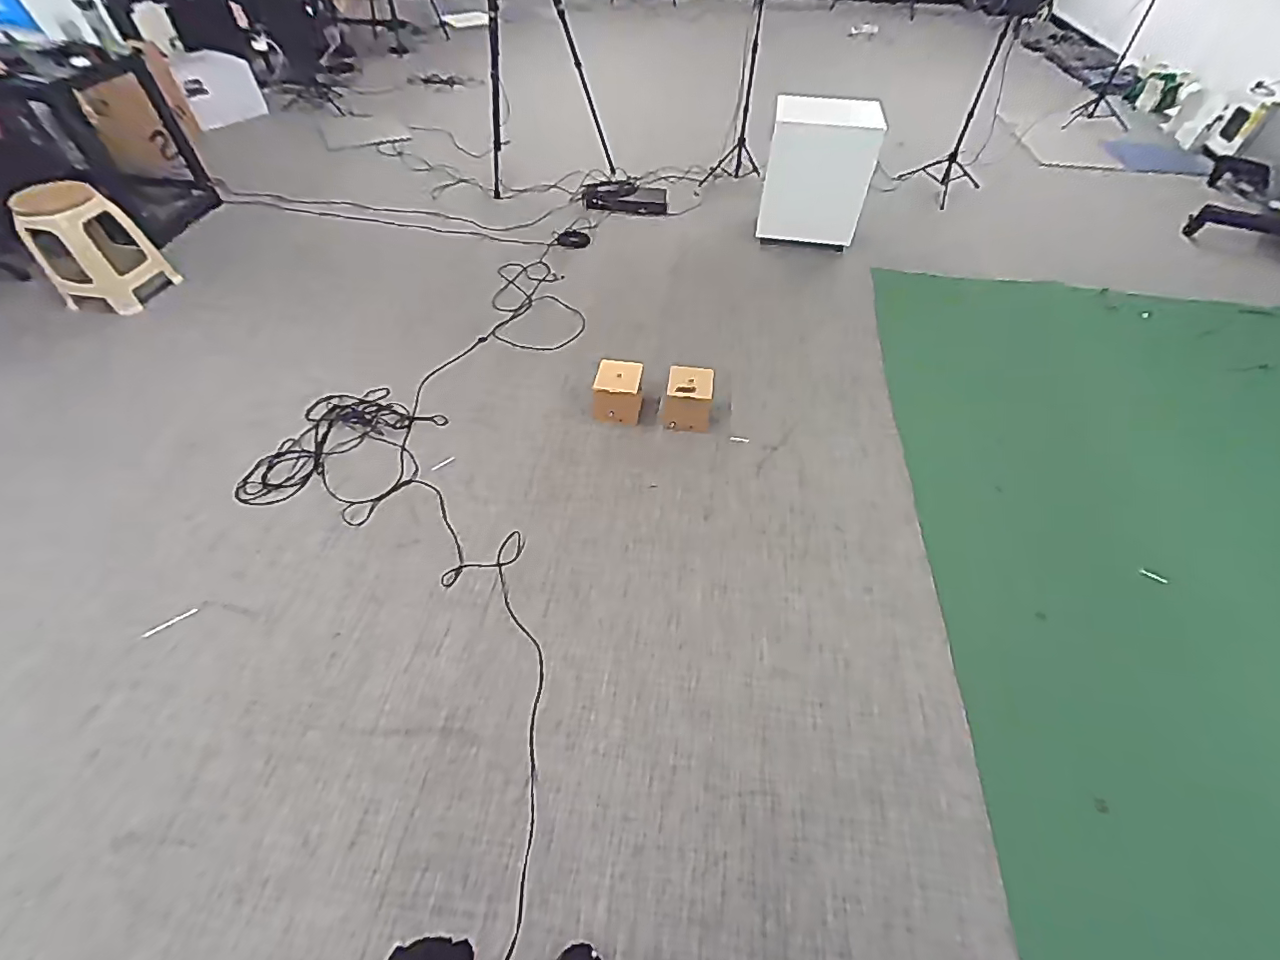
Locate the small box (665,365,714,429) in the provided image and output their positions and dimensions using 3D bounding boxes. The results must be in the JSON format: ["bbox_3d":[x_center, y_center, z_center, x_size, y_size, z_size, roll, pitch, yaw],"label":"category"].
[{"bbox_3d":[0.188,-0.314,2.073,0.168,0.176,0.179,7,50,5],"label":"small box"}]

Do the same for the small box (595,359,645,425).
[{"bbox_3d":[-0.076,-0.341,2.094,0.168,0.176,0.179,7,51,5],"label":"small box"}]
